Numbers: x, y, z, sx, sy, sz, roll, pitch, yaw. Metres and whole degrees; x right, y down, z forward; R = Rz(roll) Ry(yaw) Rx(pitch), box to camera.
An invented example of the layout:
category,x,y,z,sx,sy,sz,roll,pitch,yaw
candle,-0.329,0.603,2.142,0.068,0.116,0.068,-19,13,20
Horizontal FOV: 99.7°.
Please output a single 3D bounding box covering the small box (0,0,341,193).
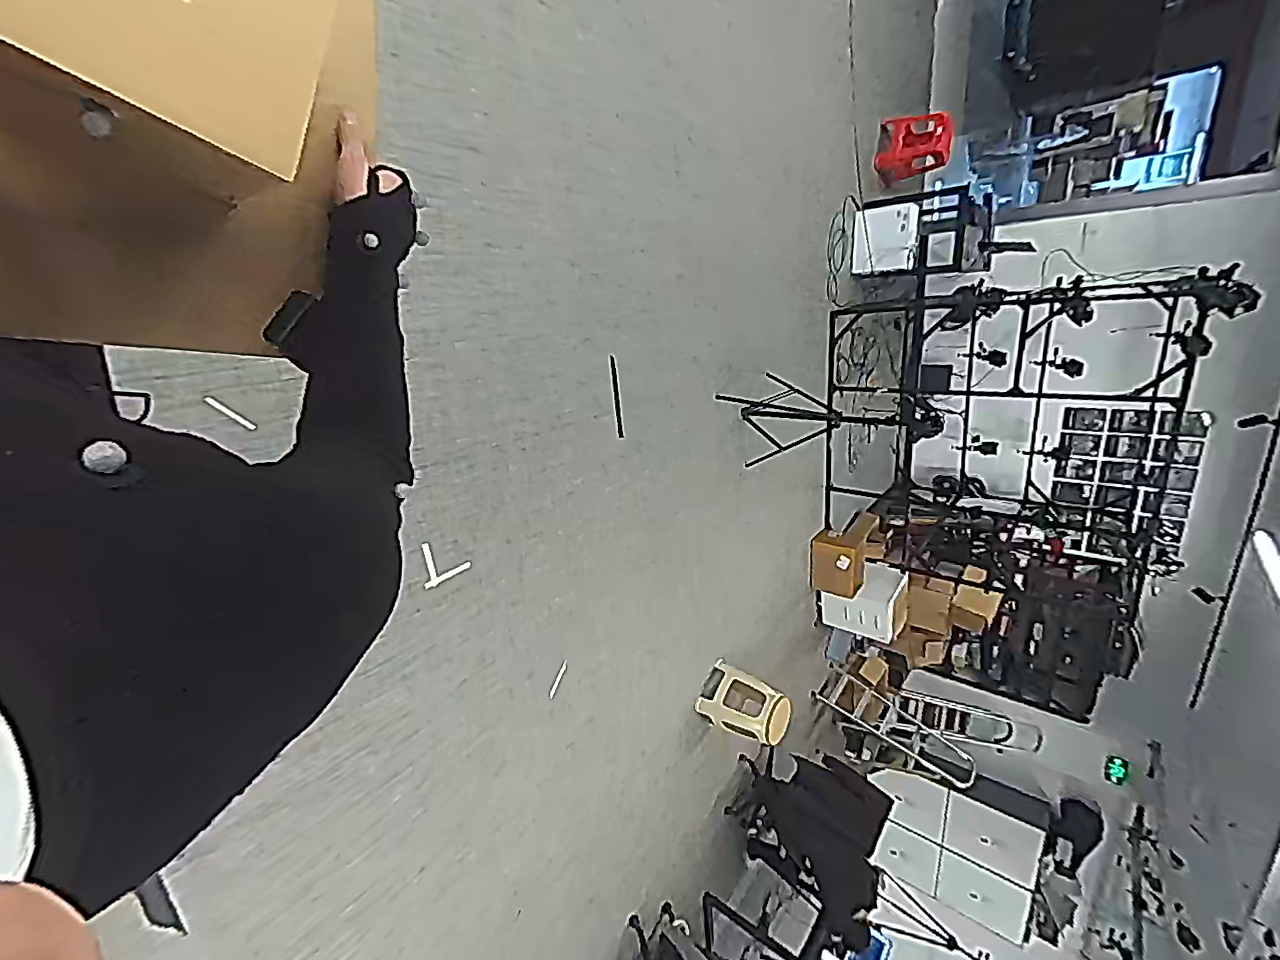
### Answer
category,x,y,z,sx,sy,sz,roll,pitch,yaw
small box,-0.337,-0.320,0.369,0.179,0.176,0.168,13,95,-48
